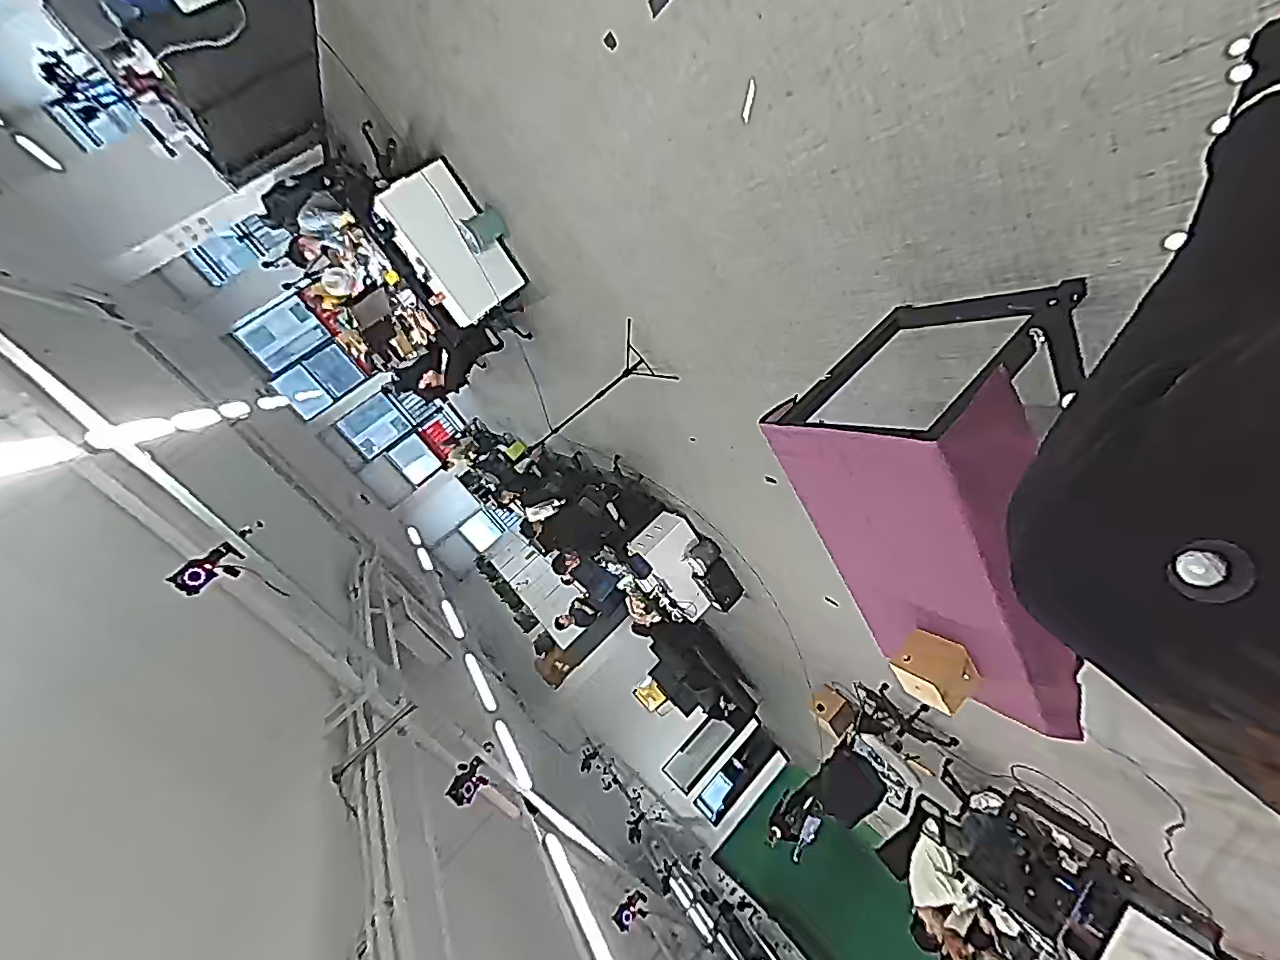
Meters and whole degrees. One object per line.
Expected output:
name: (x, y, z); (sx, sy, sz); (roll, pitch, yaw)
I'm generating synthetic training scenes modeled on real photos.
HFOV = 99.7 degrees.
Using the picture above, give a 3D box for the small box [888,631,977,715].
small box: (0.977, 0.634, 1.803); (0.168, 0.176, 0.179); (54, 163, -21)
